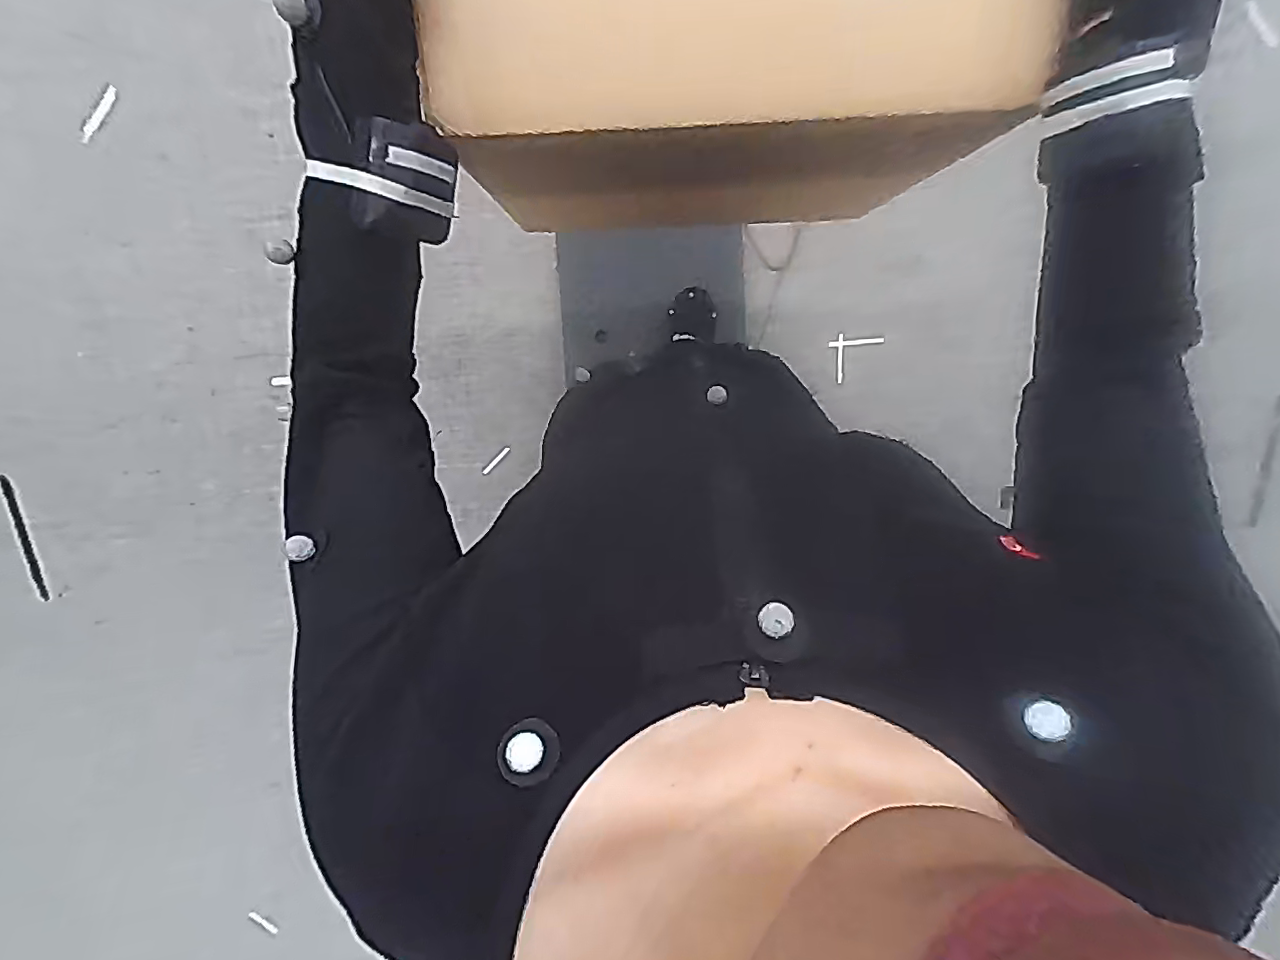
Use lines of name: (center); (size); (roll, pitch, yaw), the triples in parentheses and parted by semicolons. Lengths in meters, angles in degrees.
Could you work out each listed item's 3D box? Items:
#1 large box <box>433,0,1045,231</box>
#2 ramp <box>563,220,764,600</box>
large box: (0.056, -0.427, 0.473); (0.408, 0.320, 0.320); (-3, 104, 0)
ramp: (0.063, -0.178, 1.465); (0.509, 0.206, 0.991); (-5, 102, 3)
